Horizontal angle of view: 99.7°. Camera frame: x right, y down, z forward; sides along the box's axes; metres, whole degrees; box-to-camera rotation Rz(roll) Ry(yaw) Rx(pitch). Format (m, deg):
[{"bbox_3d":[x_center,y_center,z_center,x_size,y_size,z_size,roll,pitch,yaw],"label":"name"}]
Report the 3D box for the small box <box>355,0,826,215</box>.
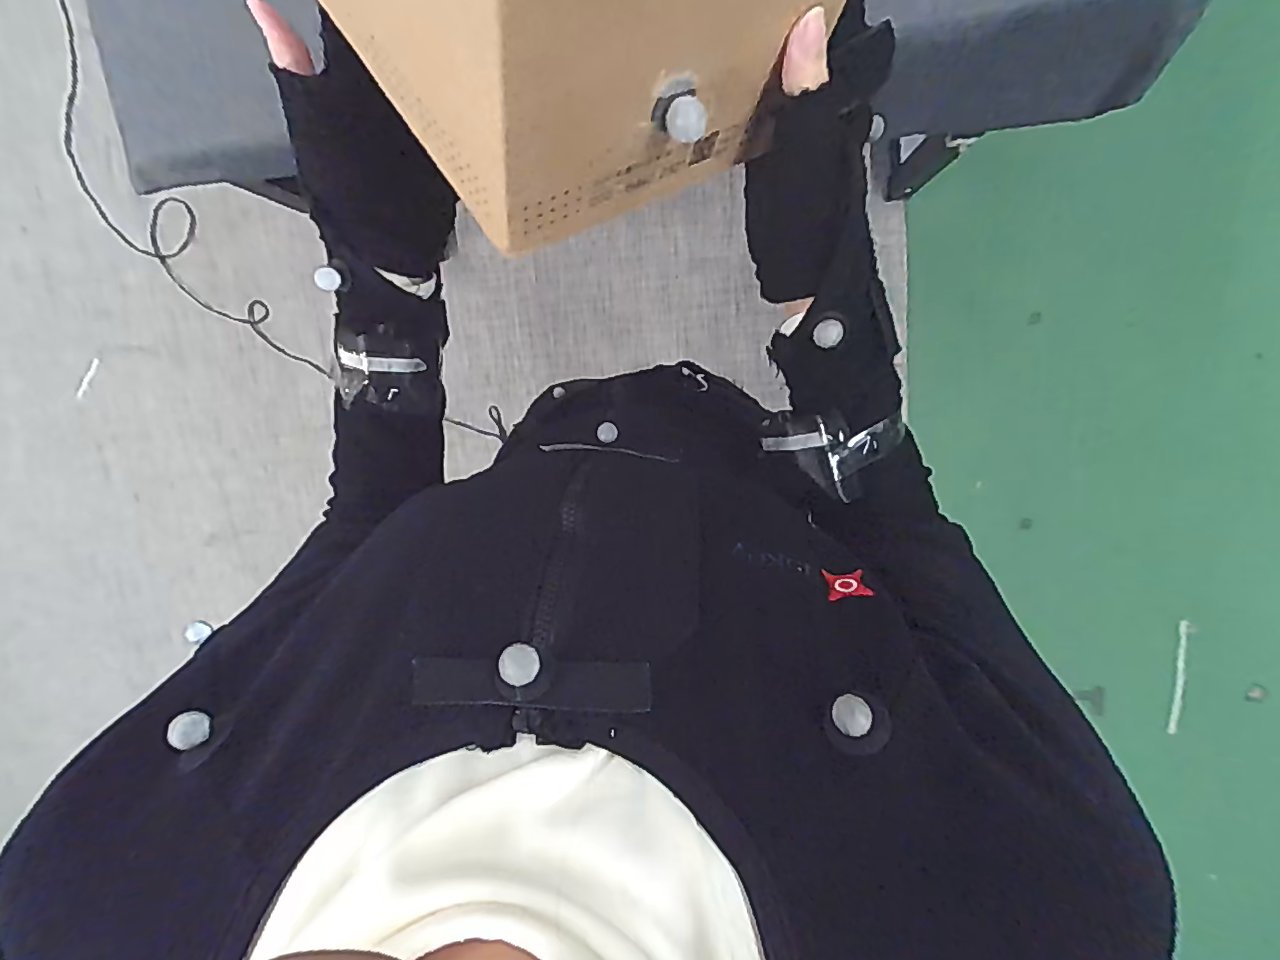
[{"bbox_3d":[-0.025,-0.247,0.207,0.168,0.176,0.179,-33,81,-19],"label":"small box"}]
